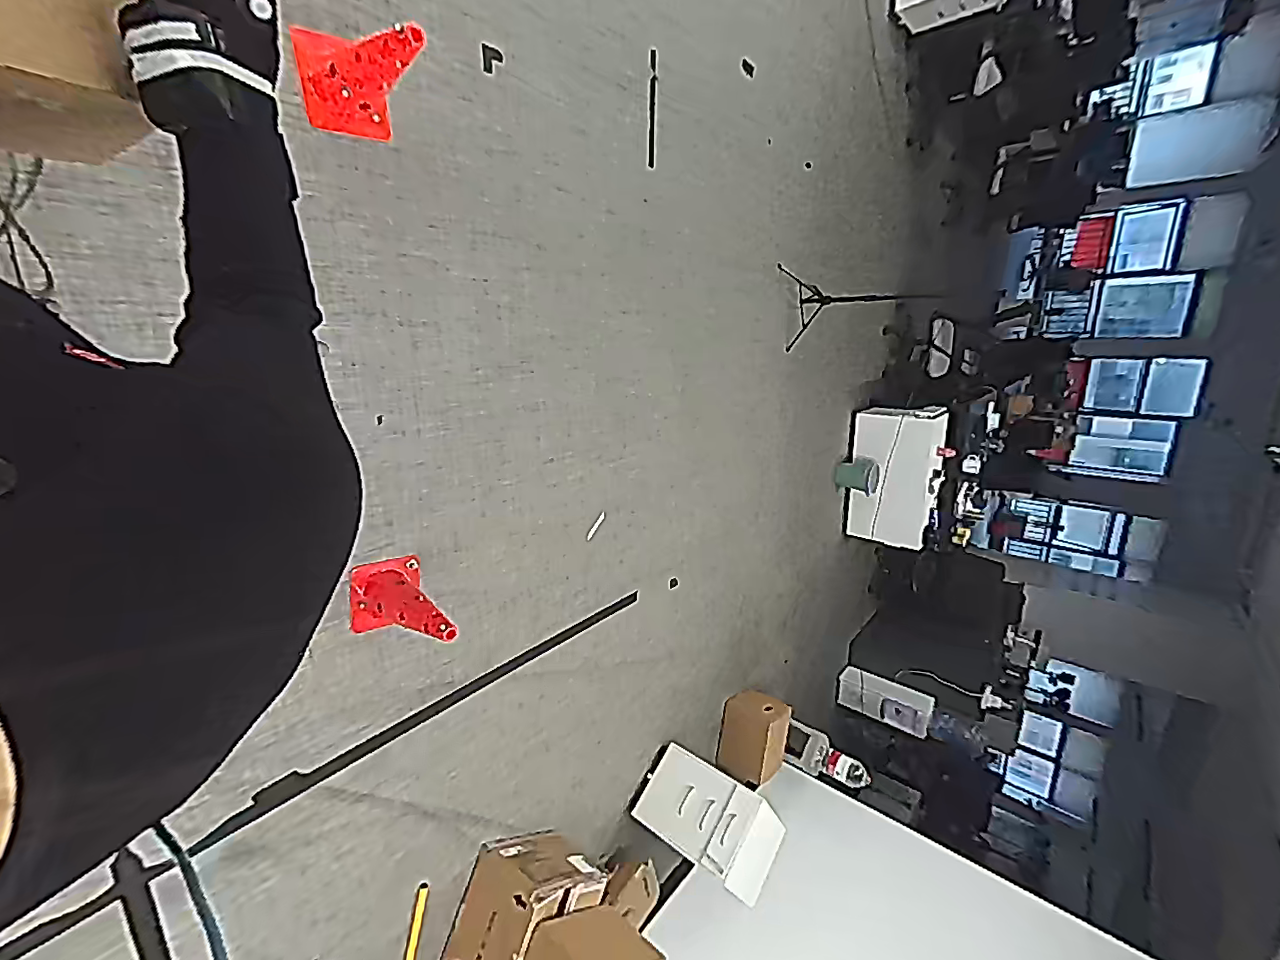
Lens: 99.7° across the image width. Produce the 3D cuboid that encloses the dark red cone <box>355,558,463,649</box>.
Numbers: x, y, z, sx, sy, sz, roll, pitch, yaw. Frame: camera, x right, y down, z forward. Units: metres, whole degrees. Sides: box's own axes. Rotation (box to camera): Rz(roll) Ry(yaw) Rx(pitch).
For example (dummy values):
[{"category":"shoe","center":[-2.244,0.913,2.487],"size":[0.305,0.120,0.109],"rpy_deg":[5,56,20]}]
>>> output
[{"category":"dark red cone","center":[-0.592,0.359,1.448],"size":[0.201,0.394,0.202],"rpy_deg":[-9,106,-48]}]

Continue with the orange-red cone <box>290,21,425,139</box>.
[{"category":"orange-red cone","center":[-0.576,-0.912,1.175],"size":[0.198,0.360,0.199],"rpy_deg":[-21,114,-47]}]

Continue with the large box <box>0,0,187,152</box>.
[{"category":"large box","center":[-0.562,-0.410,0.282],"size":[0.408,0.320,0.320],"rpy_deg":[-19,118,-50]}]
